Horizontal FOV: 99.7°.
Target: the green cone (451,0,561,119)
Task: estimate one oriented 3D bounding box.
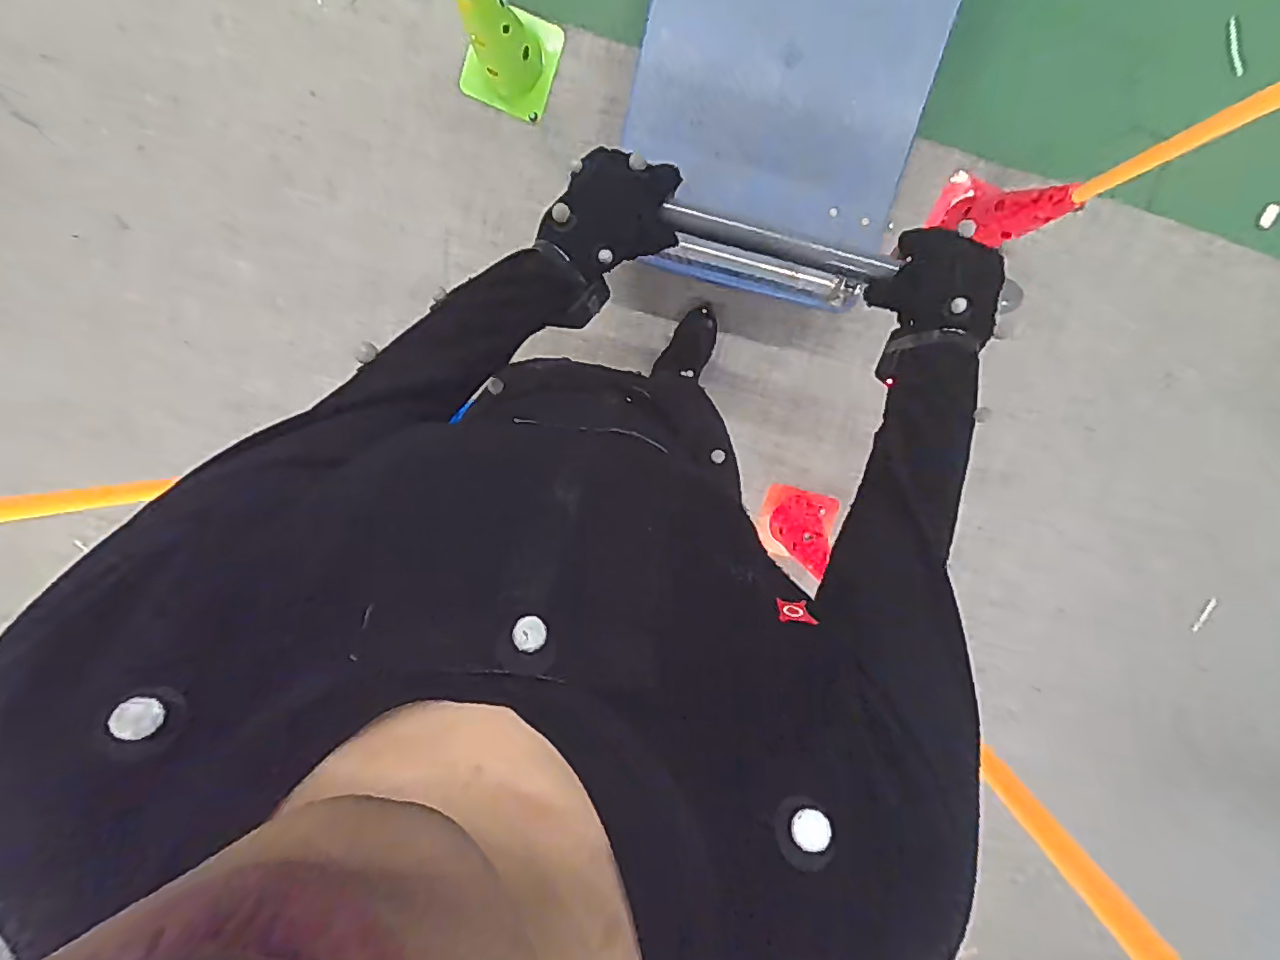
[{"bbox_3d":[-0.306,-0.915,1.065,0.202,0.368,0.200,21,105,-3],"label":"green cone"}]

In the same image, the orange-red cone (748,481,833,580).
[{"bbox_3d":[0.410,0.157,1.346,0.199,0.360,0.198,17,105,-1],"label":"orange-red cone"}]
